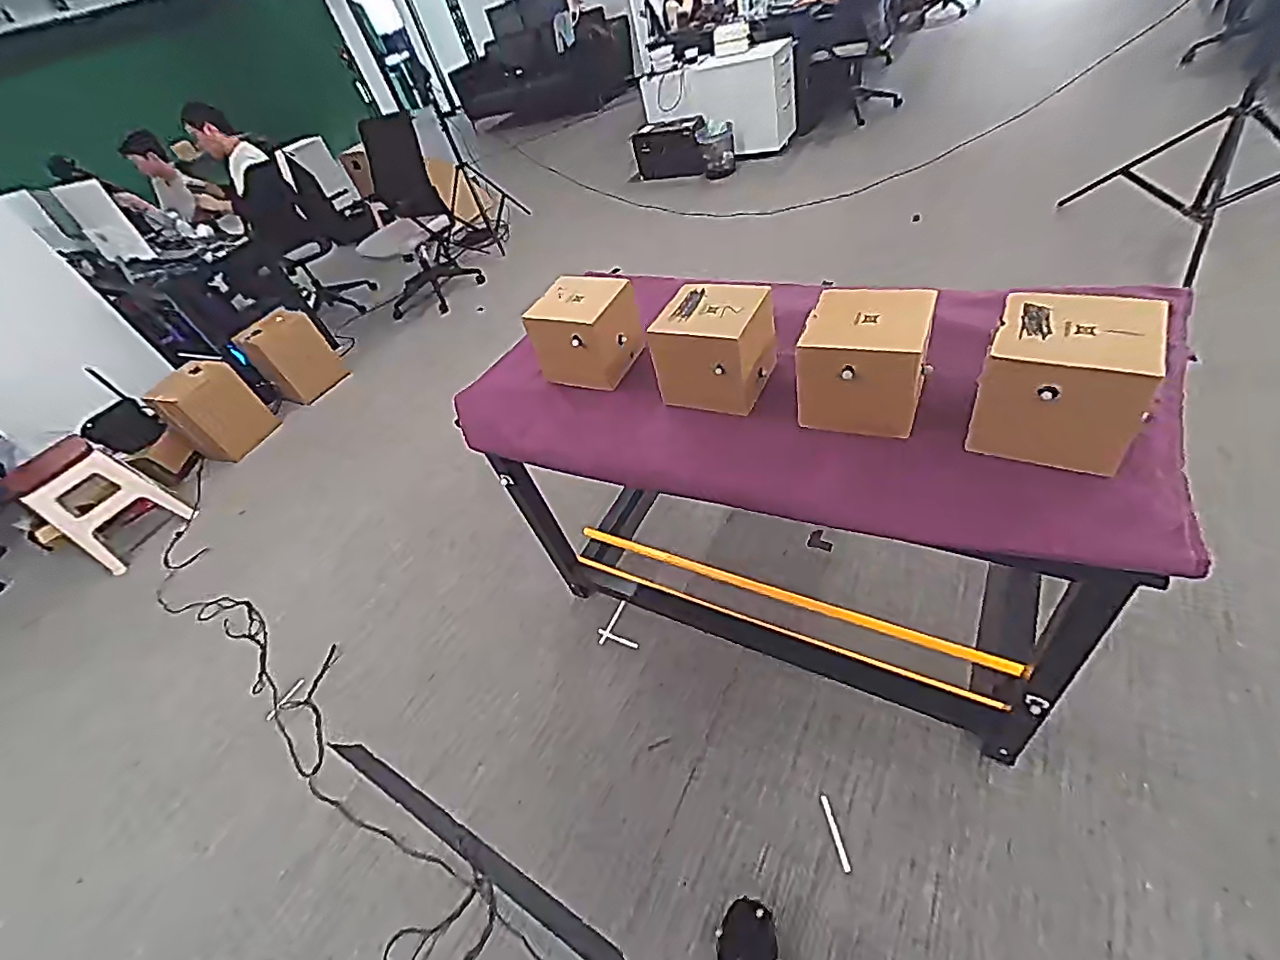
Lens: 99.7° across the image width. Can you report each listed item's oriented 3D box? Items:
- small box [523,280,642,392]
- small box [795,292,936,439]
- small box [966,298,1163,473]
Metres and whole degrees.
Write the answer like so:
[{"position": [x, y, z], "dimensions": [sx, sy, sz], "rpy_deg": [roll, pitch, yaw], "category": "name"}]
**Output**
[{"position": [-0.113, -0.310, 1.166], "dimensions": [0.179, 0.176, 0.168], "rpy_deg": [13, 52, 26], "category": "small box"}, {"position": [0.366, -0.186, 0.886], "dimensions": [0.179, 0.176, 0.168], "rpy_deg": [11, 52, 29], "category": "small box"}, {"position": [0.576, -0.131, 0.751], "dimensions": [0.179, 0.176, 0.168], "rpy_deg": [17, 53, 31], "category": "small box"}]
